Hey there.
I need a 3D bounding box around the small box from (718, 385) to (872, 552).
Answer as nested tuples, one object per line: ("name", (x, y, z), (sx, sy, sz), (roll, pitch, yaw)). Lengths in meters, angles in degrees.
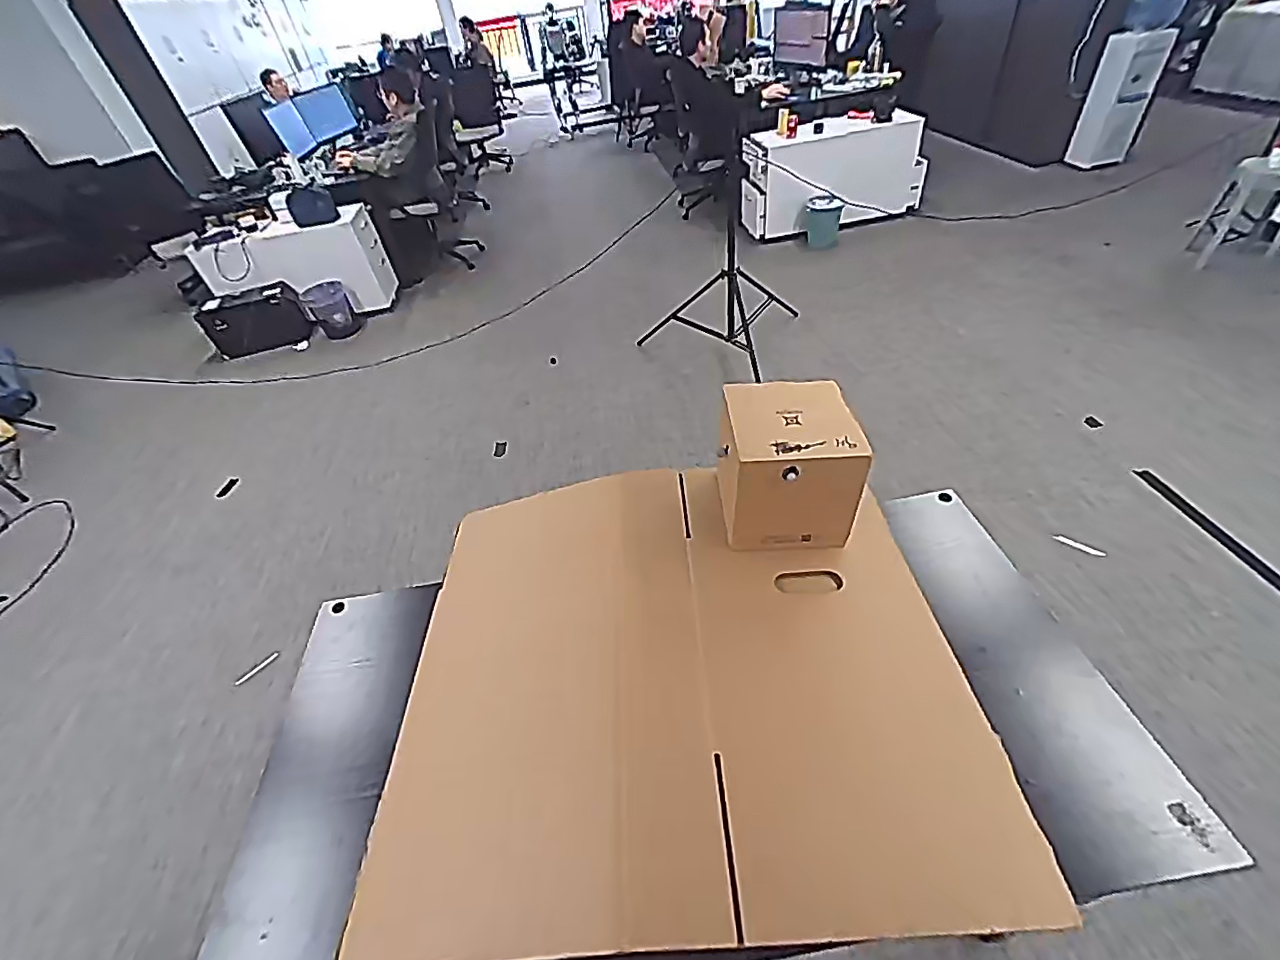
("small box", (0.204, -0.018, 0.773), (0.168, 0.176, 0.179), (-3, 41, 1))
